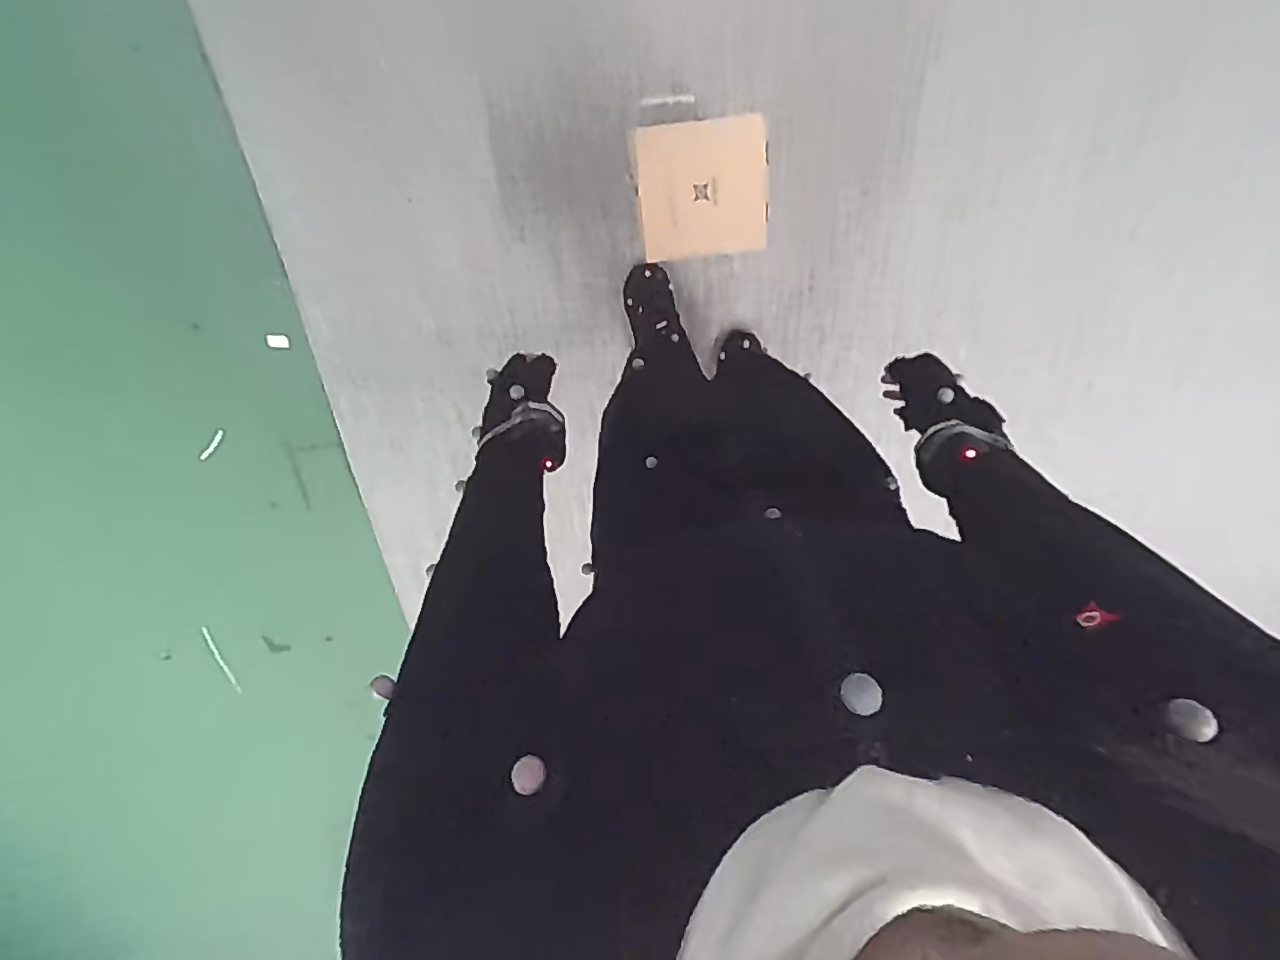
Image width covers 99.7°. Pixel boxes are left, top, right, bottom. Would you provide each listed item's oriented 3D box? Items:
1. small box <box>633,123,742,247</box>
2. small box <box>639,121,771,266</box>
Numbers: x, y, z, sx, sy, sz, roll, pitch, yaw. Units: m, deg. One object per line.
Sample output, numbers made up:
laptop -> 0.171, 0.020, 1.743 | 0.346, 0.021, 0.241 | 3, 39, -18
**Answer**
small box -> 0.083, -0.514, 0.946 | 0.179, 0.176, 0.168 | -6, 118, 3
small box -> 0.092, -0.425, 0.810 | 0.179, 0.176, 0.168 | -5, 117, 4
